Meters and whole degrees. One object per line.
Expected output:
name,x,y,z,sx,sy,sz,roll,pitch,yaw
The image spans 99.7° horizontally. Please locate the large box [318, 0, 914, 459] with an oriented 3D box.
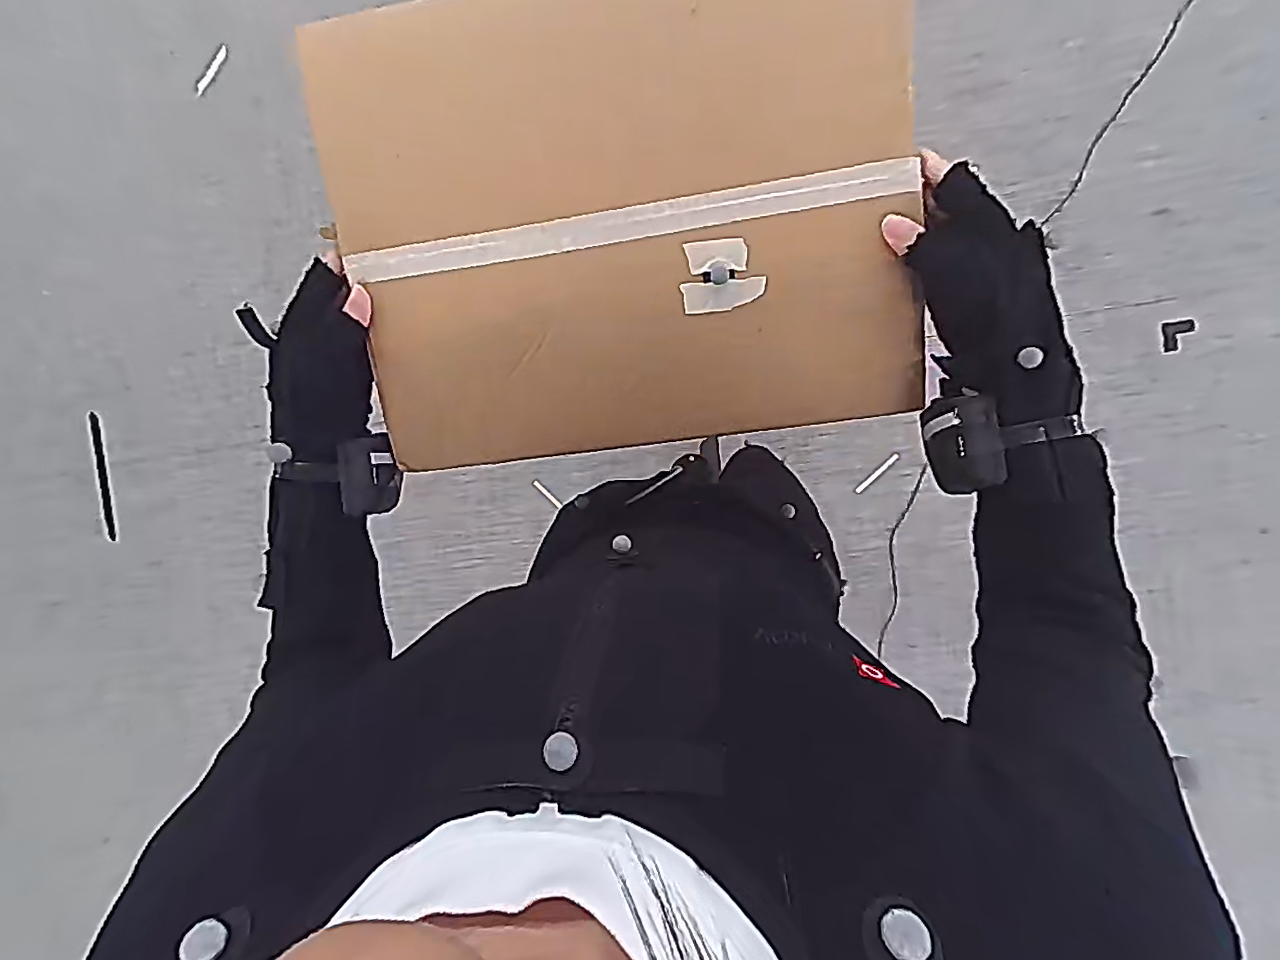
large box,-0.004,-0.223,0.537,0.408,0.320,0.320,-7,103,5
